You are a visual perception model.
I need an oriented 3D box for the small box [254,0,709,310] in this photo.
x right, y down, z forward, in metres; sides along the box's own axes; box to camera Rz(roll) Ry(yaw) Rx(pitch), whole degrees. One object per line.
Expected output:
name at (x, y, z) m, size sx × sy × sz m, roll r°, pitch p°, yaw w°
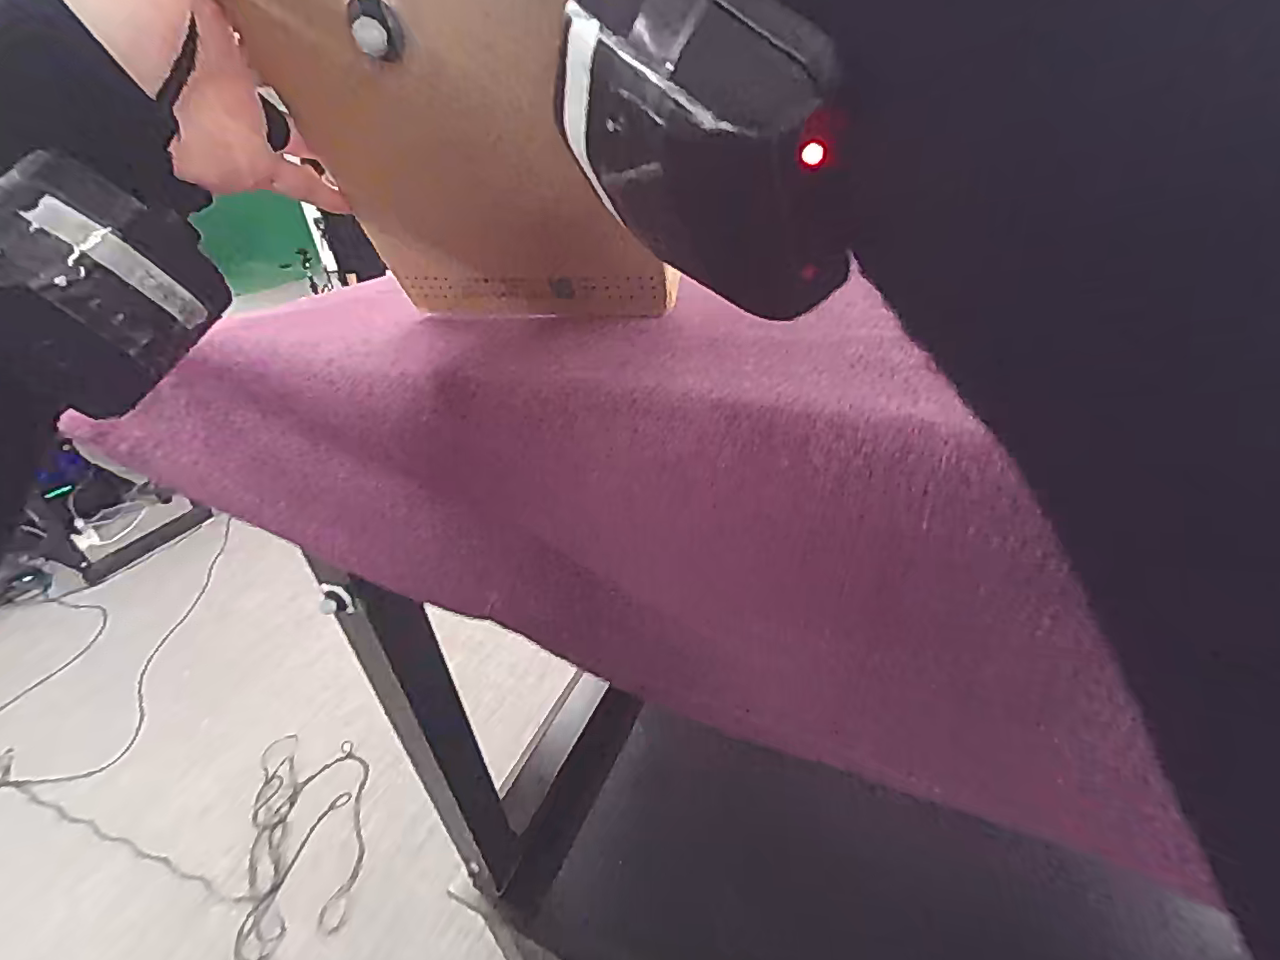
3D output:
small box at (-0.054, -0.218, 0.290) m, size 0.168 × 0.176 × 0.179 m, roll 5°, pitch 61°, yaw 12°
